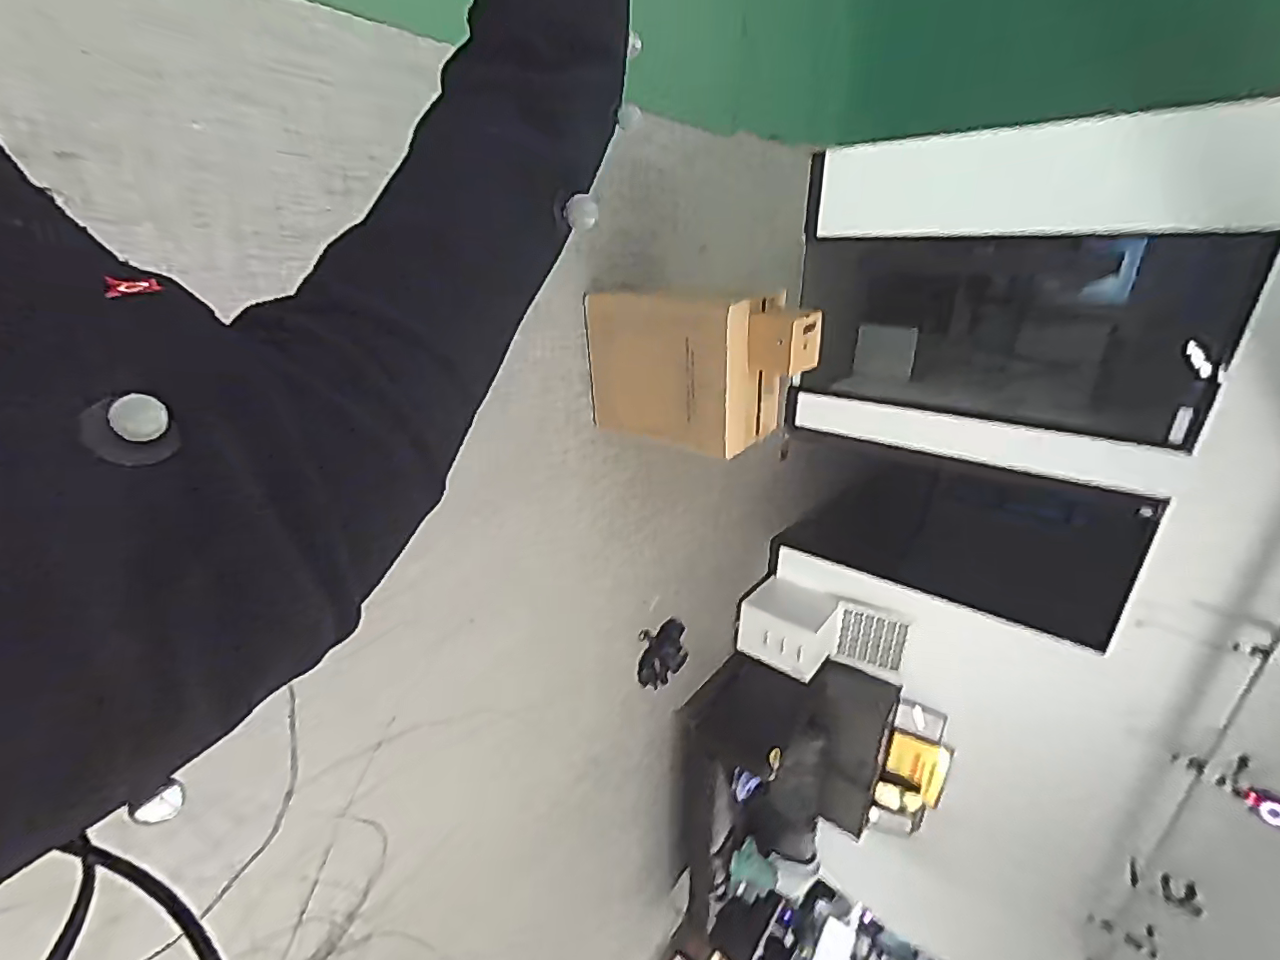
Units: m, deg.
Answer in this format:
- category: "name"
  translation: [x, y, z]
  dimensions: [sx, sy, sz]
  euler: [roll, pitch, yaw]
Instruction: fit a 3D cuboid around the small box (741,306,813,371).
- category: "small box"
  translation: [0.451, -0.476, 1.790]
  dimensions: [0.168, 0.176, 0.179]
  euler: [-25, 125, -36]
